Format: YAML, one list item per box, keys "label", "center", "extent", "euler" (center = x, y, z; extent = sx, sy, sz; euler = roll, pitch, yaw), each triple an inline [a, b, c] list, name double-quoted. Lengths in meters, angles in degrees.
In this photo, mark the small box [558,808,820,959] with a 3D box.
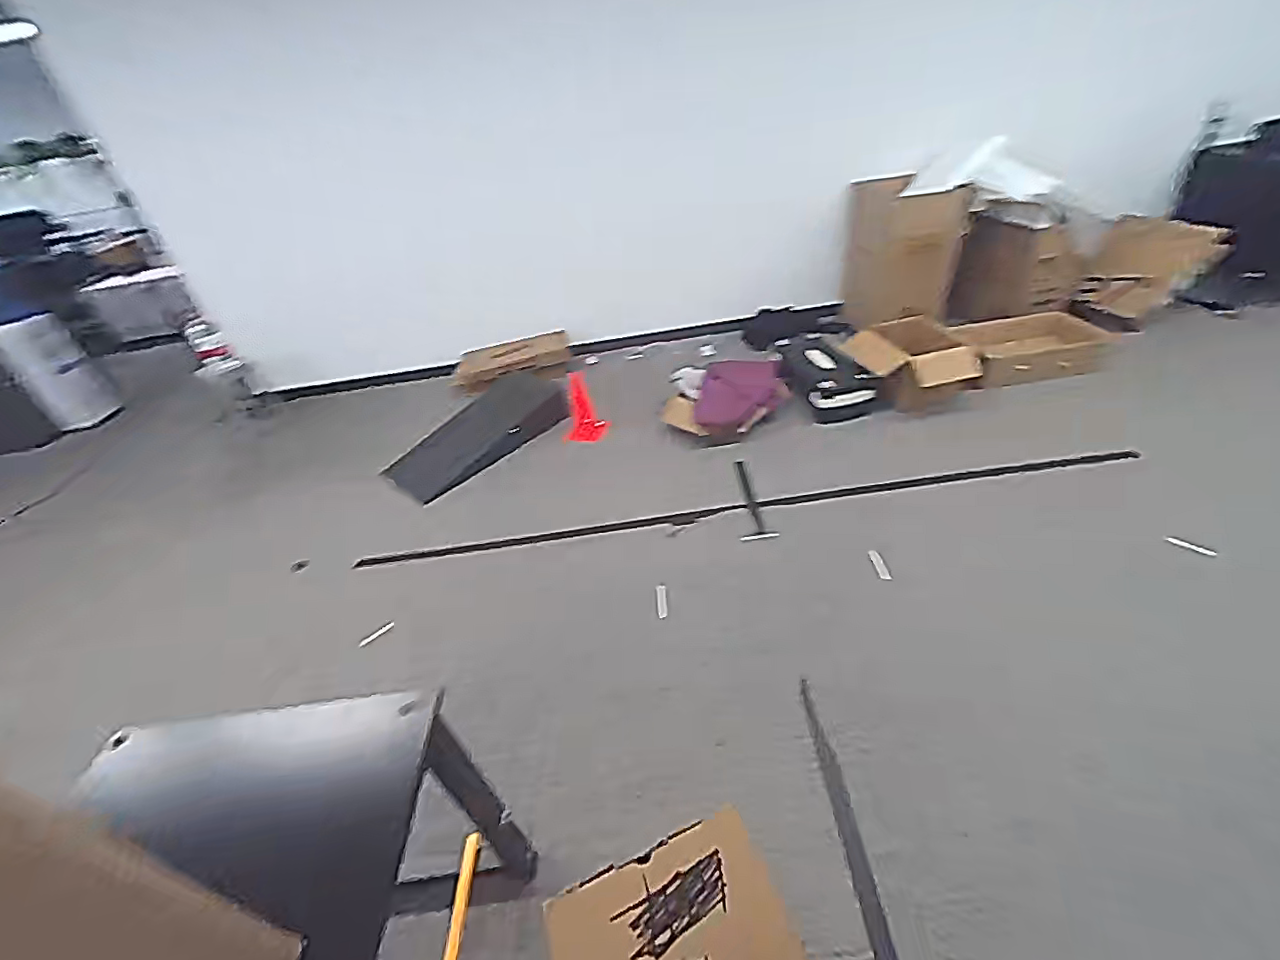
- label: "small box"
  center: [0.045, 0.399, 0.420]
  extent: [0.168, 0.176, 0.179]
  euler: [-18, 48, -14]
